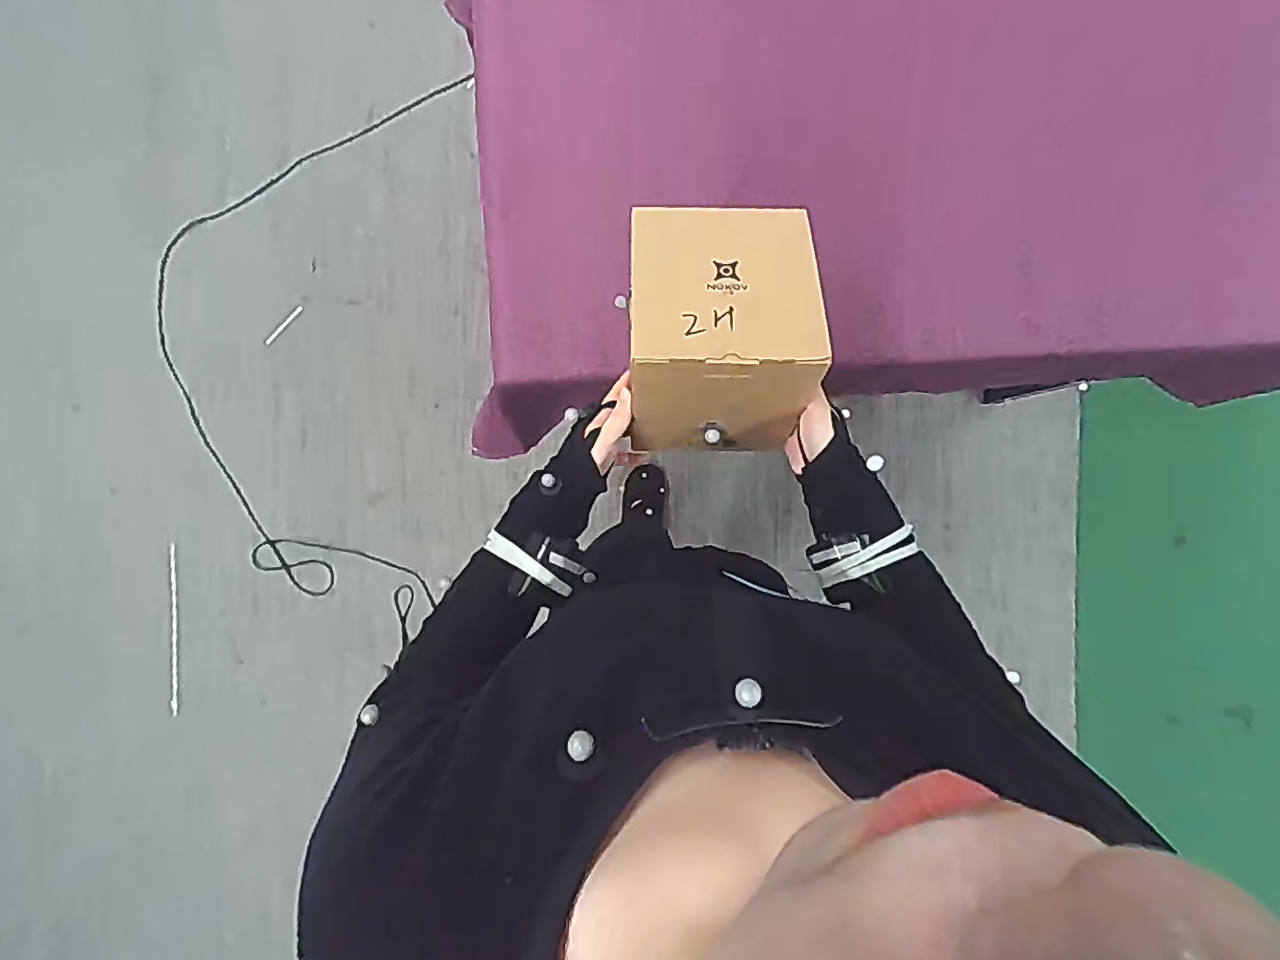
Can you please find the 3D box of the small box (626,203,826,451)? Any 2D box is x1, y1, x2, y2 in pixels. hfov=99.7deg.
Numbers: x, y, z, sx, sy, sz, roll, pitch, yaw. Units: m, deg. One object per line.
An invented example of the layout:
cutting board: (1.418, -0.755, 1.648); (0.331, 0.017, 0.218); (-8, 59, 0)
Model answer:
small box: (0.070, -0.147, 0.547); (0.168, 0.176, 0.179); (1, 66, 0)
